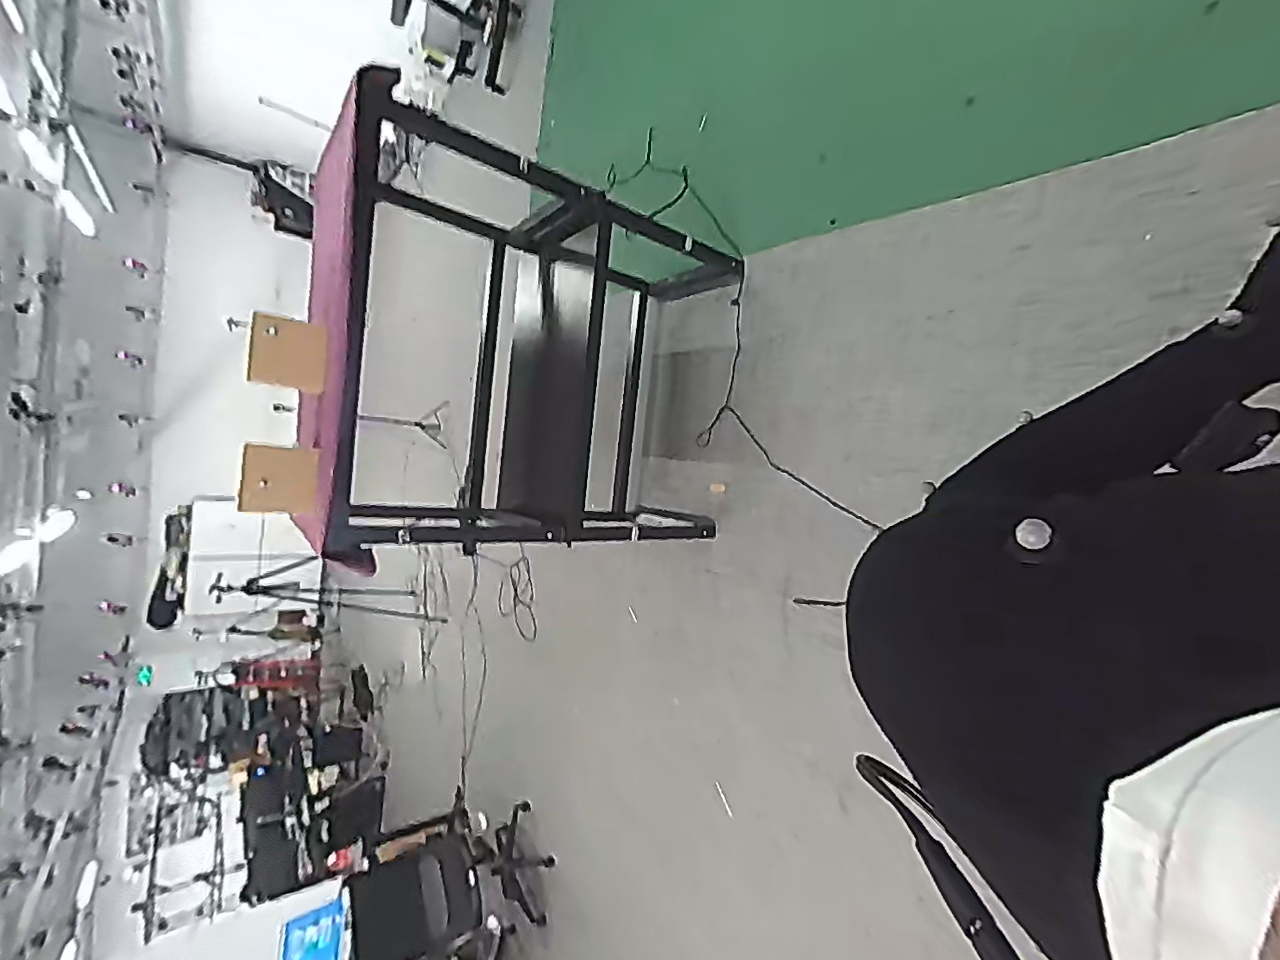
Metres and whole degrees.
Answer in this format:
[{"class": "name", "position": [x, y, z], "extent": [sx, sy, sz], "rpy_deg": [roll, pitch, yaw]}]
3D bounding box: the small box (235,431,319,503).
[{"class": "small box", "position": [-0.964, -0.034, 1.437], "extent": [0.168, 0.176, 0.179], "rpy_deg": [4, 88, 51]}]

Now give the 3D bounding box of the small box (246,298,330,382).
[{"class": "small box", "position": [-0.934, -0.364, 1.437], "extent": [0.168, 0.176, 0.179], "rpy_deg": [10, 94, 52]}]
